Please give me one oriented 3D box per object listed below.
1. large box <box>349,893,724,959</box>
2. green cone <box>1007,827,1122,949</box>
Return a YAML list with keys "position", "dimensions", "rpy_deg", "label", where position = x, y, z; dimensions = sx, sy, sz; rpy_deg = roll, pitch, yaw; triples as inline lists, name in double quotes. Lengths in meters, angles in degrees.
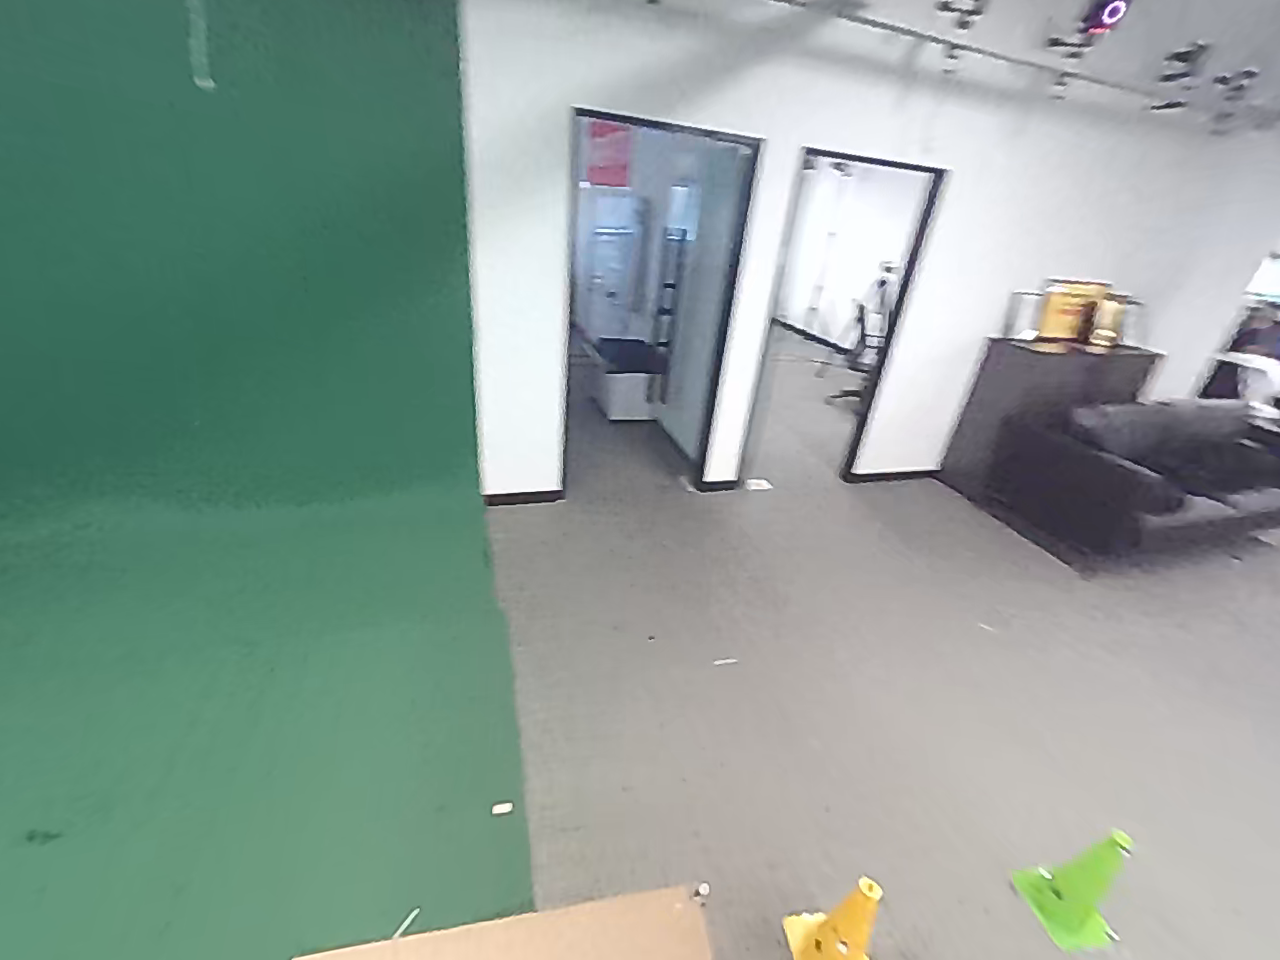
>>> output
- position: [-0.101, 0.667, 0.507]
  dimensions: [0.408, 0.320, 0.320]
  rpy_deg: [-4, 33, -8]
  label: "large box"
- position: [1.236, 1.090, 1.508]
  dimensions: [0.202, 0.368, 0.200]
  rpy_deg: [-1, 28, -12]
  label: "green cone"
